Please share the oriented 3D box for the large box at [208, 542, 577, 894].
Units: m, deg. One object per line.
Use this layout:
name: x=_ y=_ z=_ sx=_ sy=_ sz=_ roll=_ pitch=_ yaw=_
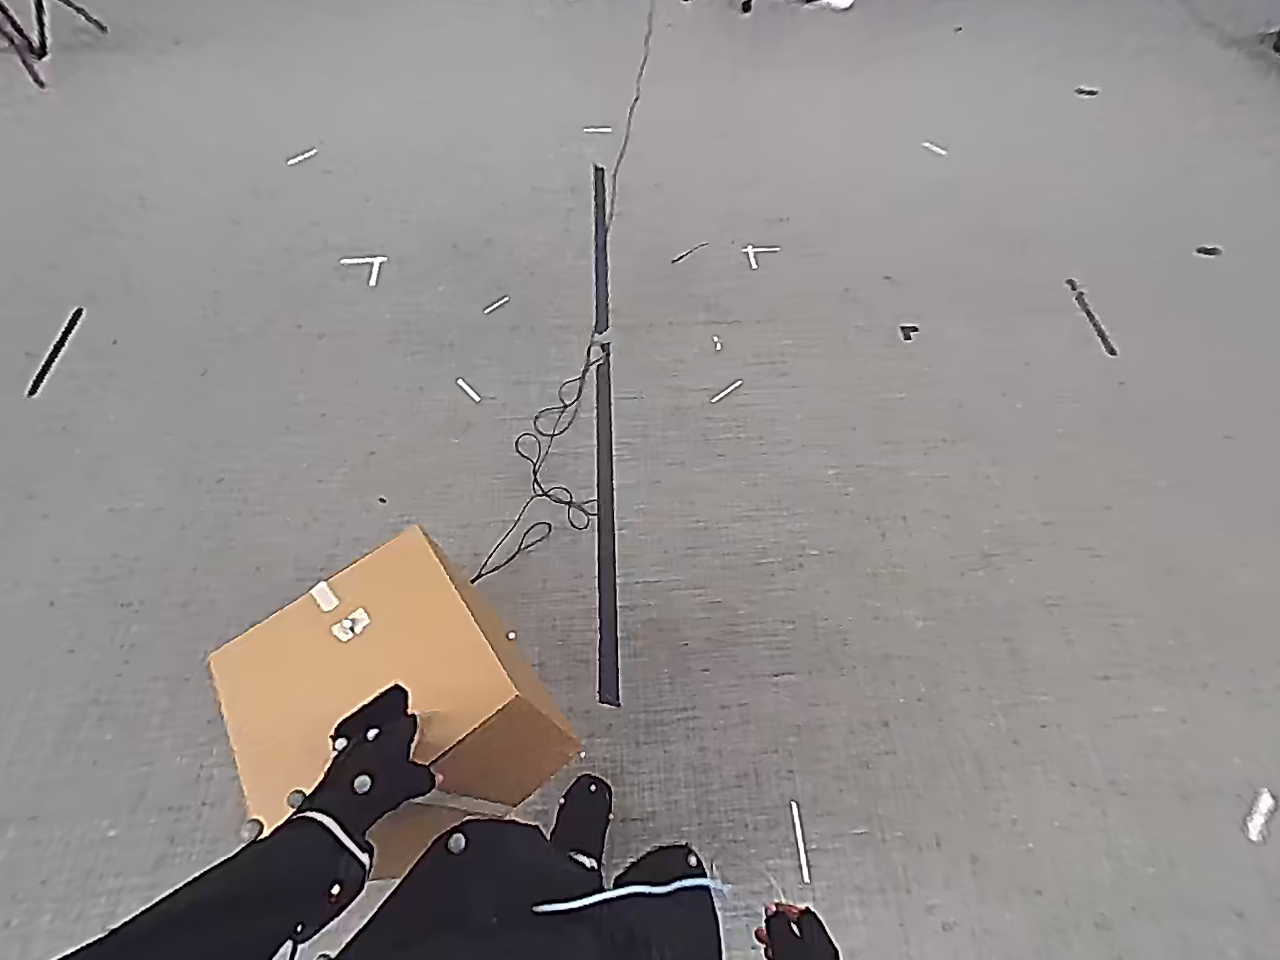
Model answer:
large box: x=-0.349 y=0.366 z=0.848 sx=0.320 sy=0.408 sz=0.320 roll=-35 pitch=59 yaw=-15
